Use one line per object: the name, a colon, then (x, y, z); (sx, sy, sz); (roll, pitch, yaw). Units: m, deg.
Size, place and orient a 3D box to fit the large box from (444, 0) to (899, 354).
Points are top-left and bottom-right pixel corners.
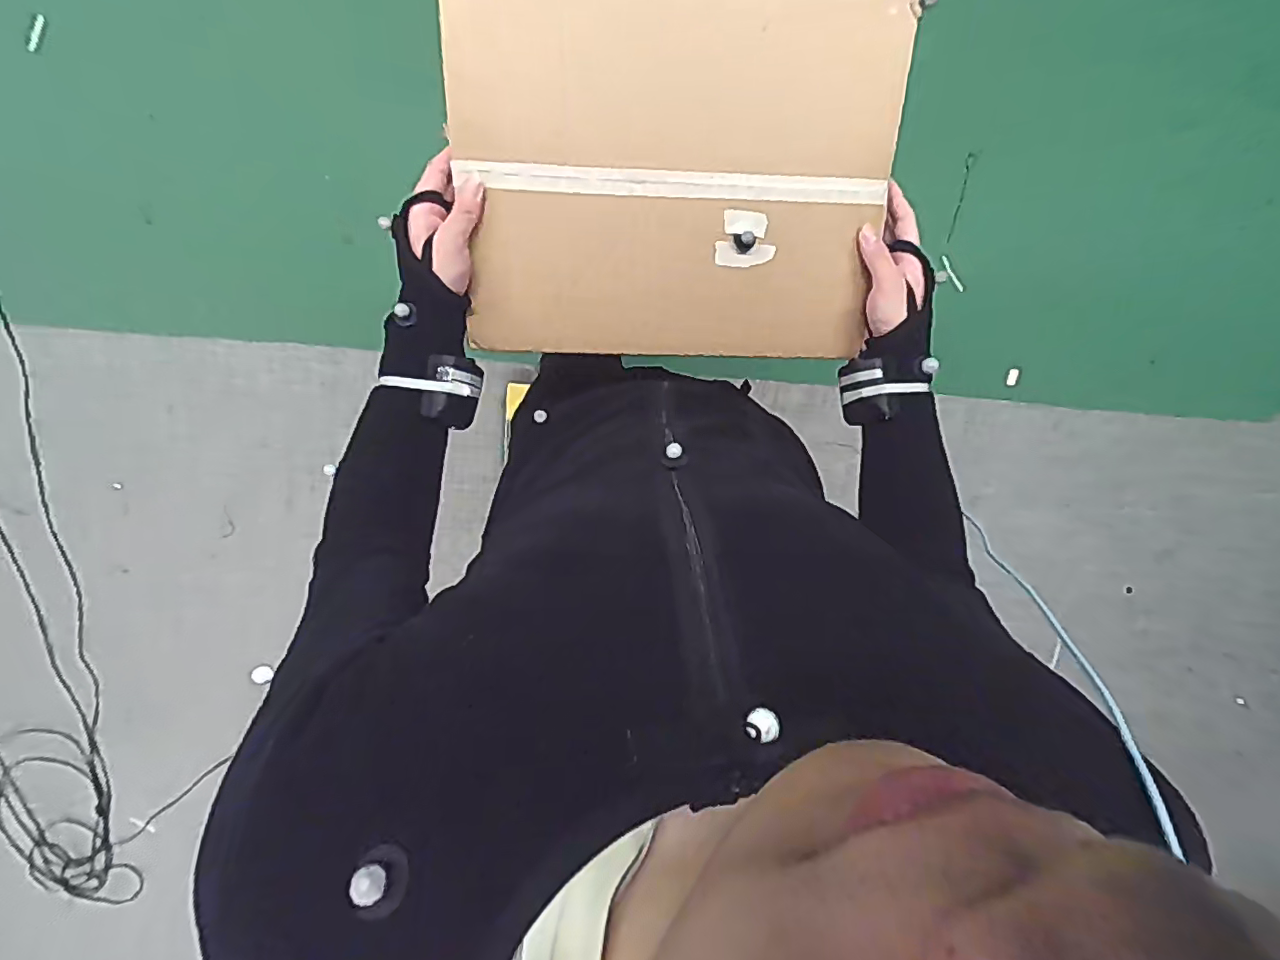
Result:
large box: (0.017, -0.331, 0.653); (0.408, 0.320, 0.320); (0, 112, -5)
